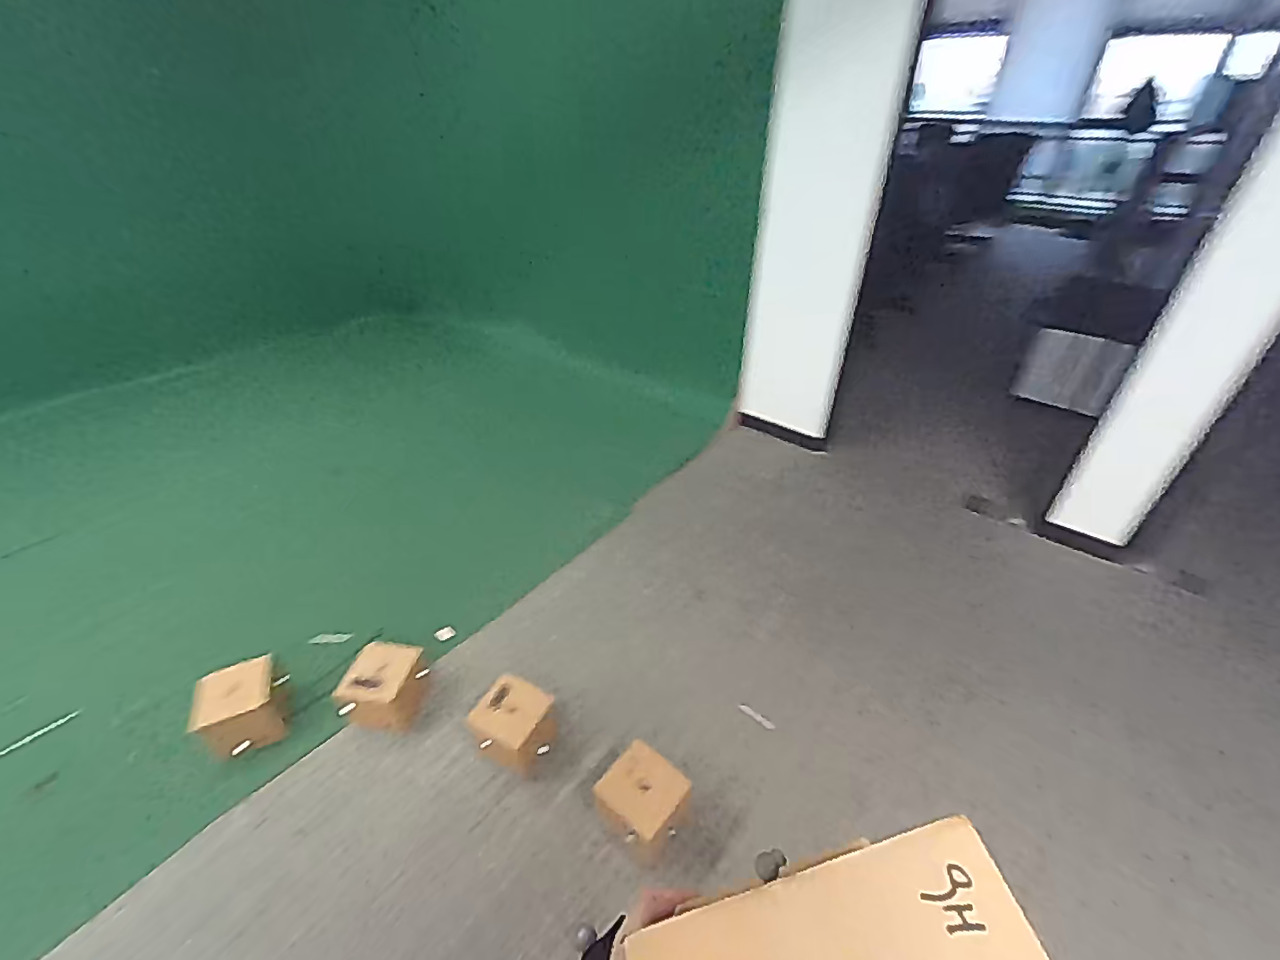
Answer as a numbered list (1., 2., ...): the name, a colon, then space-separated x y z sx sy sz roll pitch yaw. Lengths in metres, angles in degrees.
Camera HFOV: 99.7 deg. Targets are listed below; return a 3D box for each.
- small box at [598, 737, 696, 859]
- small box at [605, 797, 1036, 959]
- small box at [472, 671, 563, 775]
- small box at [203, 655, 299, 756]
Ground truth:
1. small box: 0.018 0.784 1.325 0.179 0.176 0.168 27 44 32
2. small box: 0.097 0.287 0.267 0.179 0.176 0.168 -17 51 -6
3. small box: -0.329 0.669 1.484 0.179 0.176 0.168 18 40 22
4. small box: -1.094 0.639 1.536 0.168 0.176 0.179 -16 39 -20
